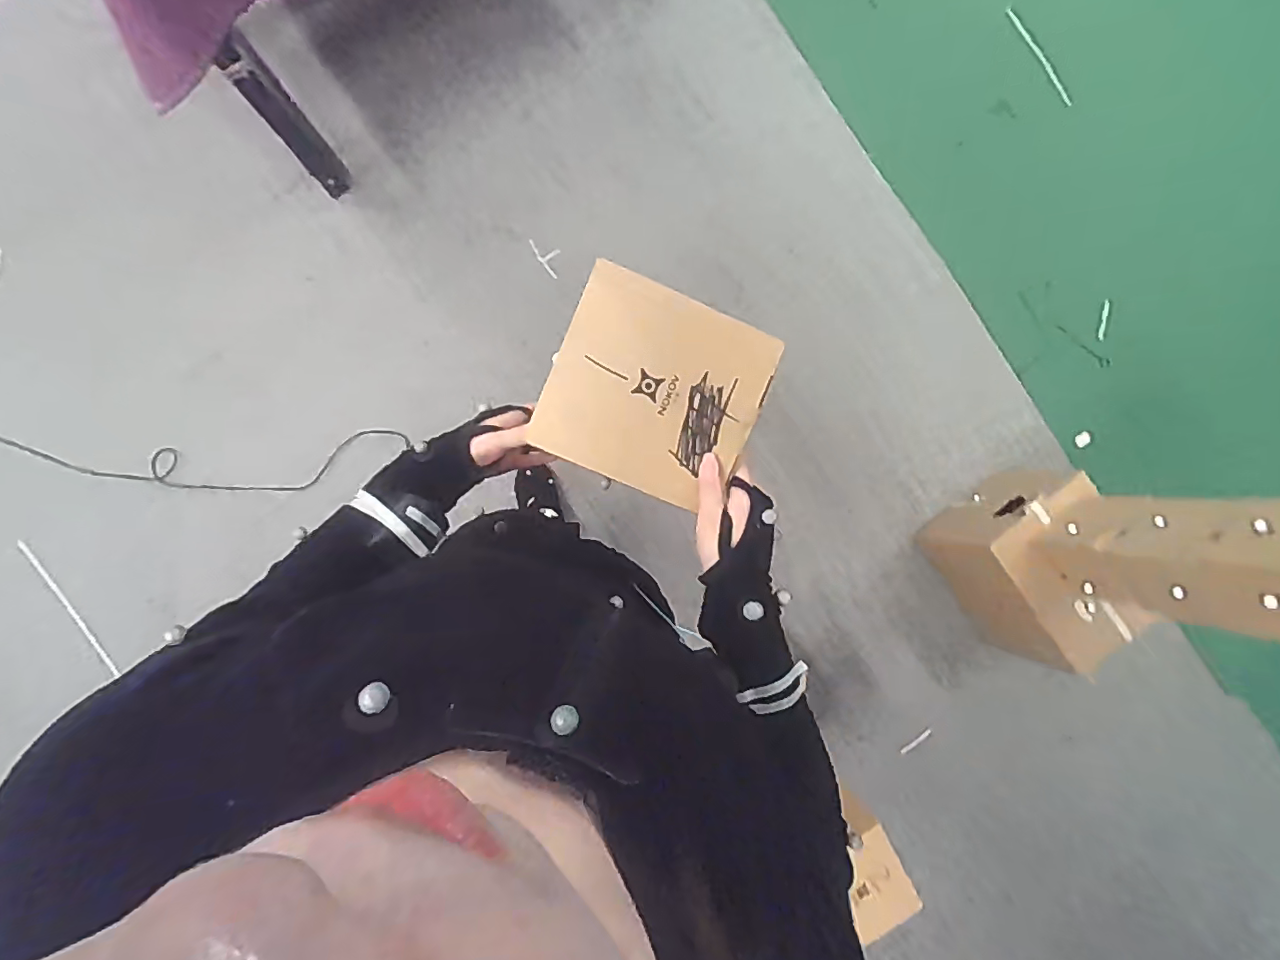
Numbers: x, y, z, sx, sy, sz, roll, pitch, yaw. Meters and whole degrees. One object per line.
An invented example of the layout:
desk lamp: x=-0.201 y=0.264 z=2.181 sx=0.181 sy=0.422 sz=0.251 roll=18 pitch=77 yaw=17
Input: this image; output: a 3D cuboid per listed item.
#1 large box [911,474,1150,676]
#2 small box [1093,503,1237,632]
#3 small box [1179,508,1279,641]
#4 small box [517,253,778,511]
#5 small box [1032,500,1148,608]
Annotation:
large box: x=1.038 y=0.233 z=1.462 sx=0.320 sy=0.320 sz=0.408 roll=-35 pitch=93 yaw=-5
small box: x=1.055 y=0.162 z=1.056 sx=0.168 sy=0.176 sz=0.179 roll=-40 pitch=93 yaw=-5
small box: x=1.069 y=0.158 z=0.892 sx=0.168 sy=0.176 sz=0.179 roll=-38 pitch=92 yaw=-5
small box: x=0.001 y=-0.086 z=0.532 sx=0.179 sy=0.176 sz=0.168 roll=23 pitch=91 yaw=-6
small box: x=1.035 y=0.160 z=1.218 sx=0.179 sy=0.176 sz=0.168 roll=-36 pitch=93 yaw=-6
